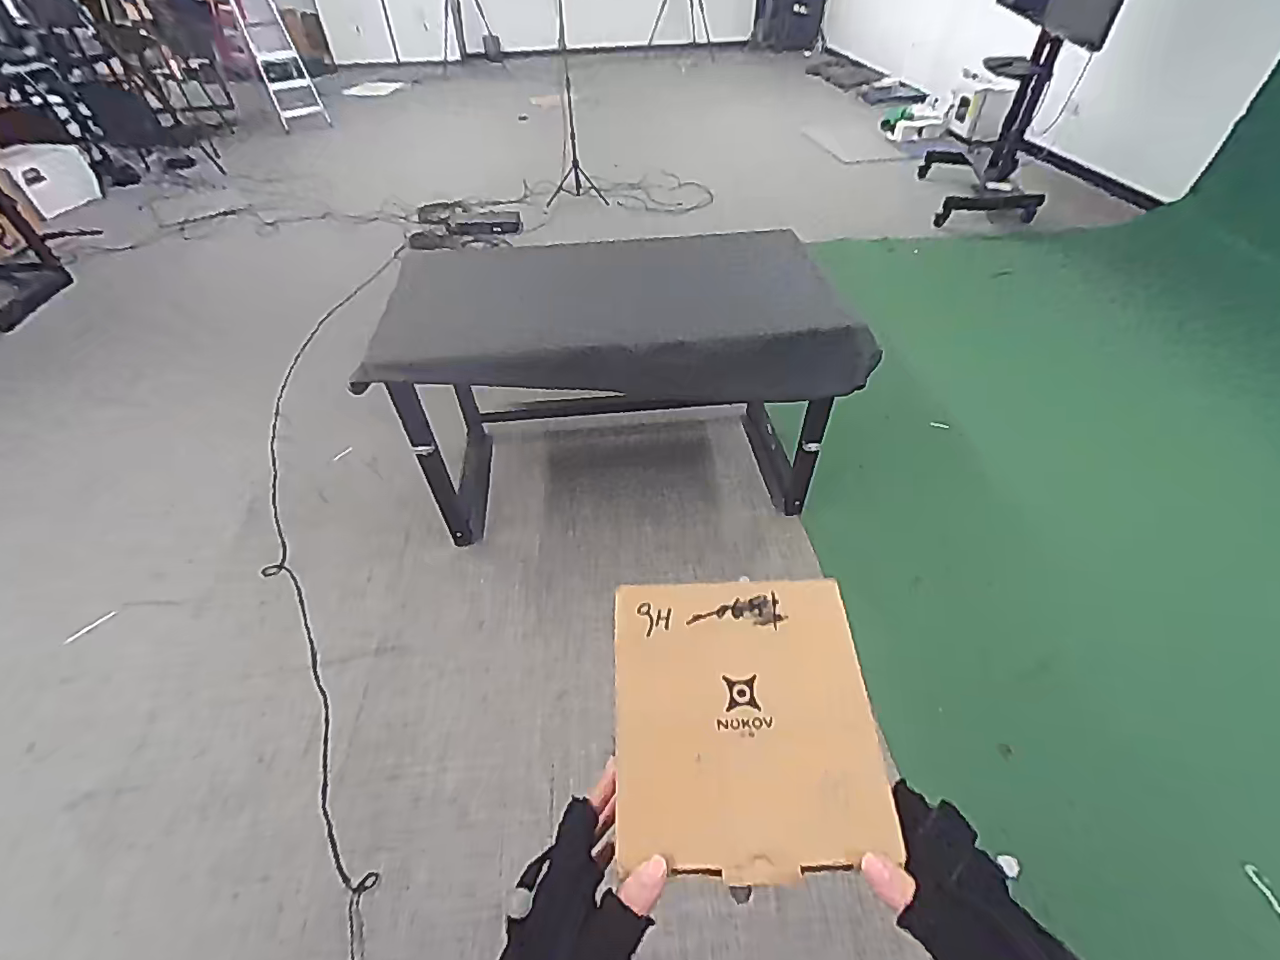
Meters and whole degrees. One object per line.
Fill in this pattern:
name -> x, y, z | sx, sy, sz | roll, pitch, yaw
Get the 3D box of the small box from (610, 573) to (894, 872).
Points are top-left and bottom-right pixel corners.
small box -> 0.066, 0.187, 0.420 | 0.168, 0.176, 0.179 | -3, 57, 0
